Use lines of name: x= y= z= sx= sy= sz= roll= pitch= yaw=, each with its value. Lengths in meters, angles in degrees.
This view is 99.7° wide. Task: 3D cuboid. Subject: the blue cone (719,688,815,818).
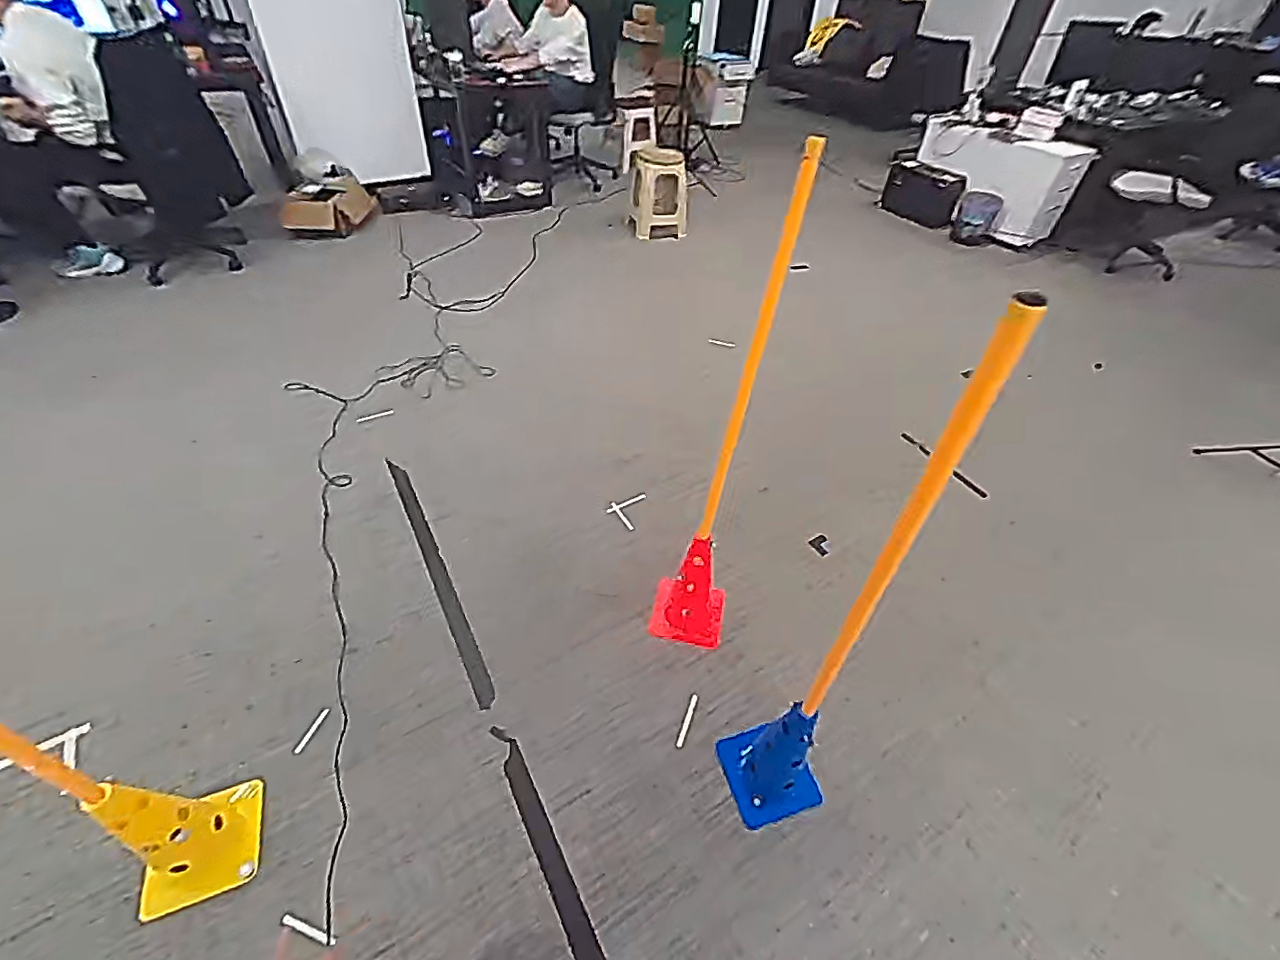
blue cone: x=0.307 y=0.558 z=1.160 sx=0.193 sy=0.380 sz=0.192 roll=-10 pitch=45 yaw=-13

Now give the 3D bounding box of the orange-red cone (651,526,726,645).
orange-red cone: x=0.150 y=0.253 z=1.442 sx=0.198 sy=0.360 sz=0.199 roll=12 pitch=46 yaw=9
